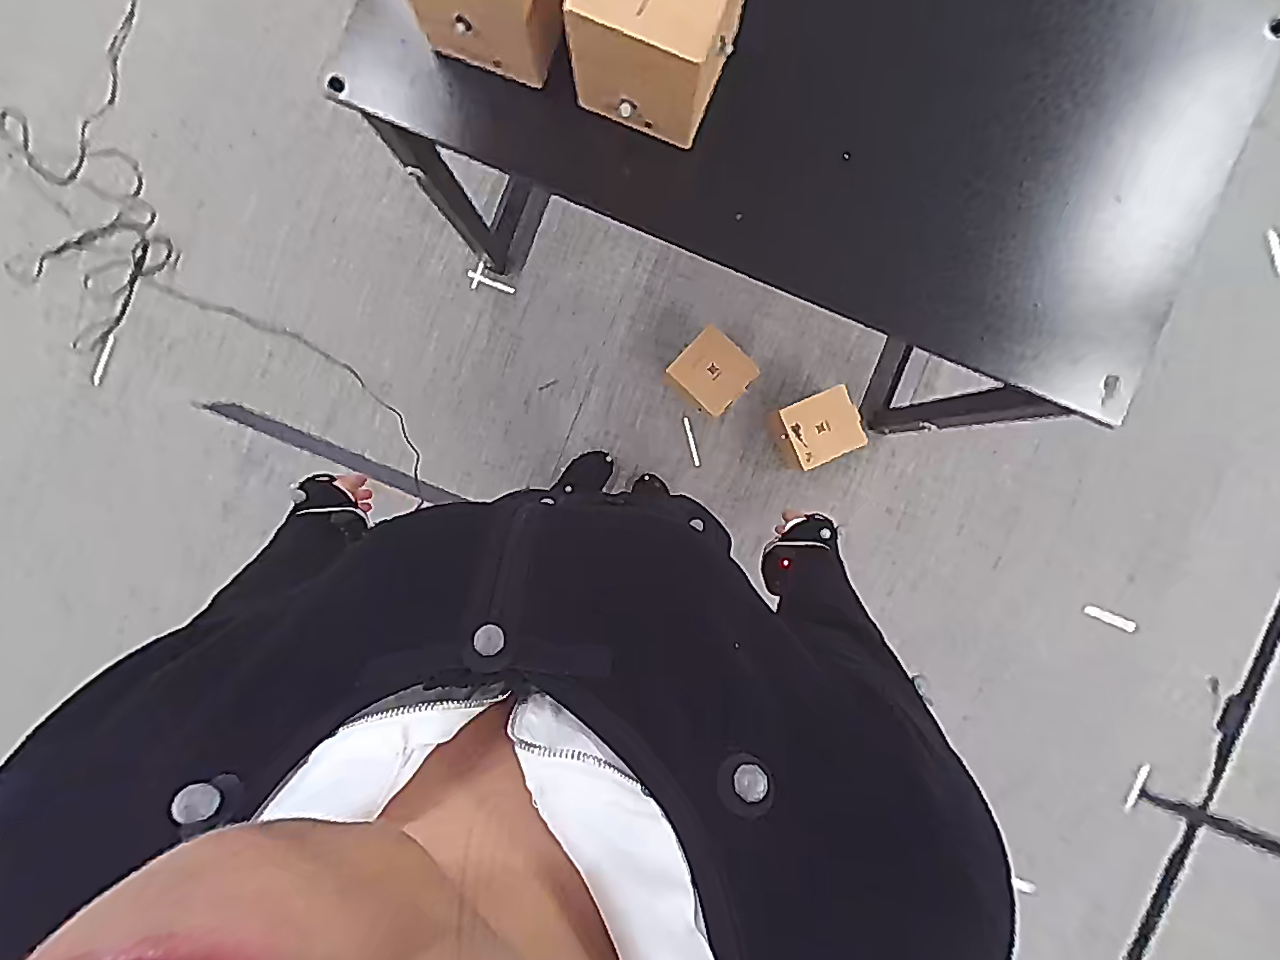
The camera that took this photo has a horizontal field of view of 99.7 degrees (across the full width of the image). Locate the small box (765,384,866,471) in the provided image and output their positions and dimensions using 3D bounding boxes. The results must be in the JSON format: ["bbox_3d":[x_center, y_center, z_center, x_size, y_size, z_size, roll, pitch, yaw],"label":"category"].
[{"bbox_3d":[0.450,-0.134,1.412,0.179,0.176,0.168,-24,92,1],"label":"small box"}]

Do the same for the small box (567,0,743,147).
[{"bbox_3d":[0.025,-0.564,0.665,0.168,0.176,0.179,22,93,-1],"label":"small box"}]

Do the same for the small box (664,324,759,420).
[{"bbox_3d":[0.179,-0.272,1.409,0.179,0.176,0.168,43,91,-1],"label":"small box"}]
